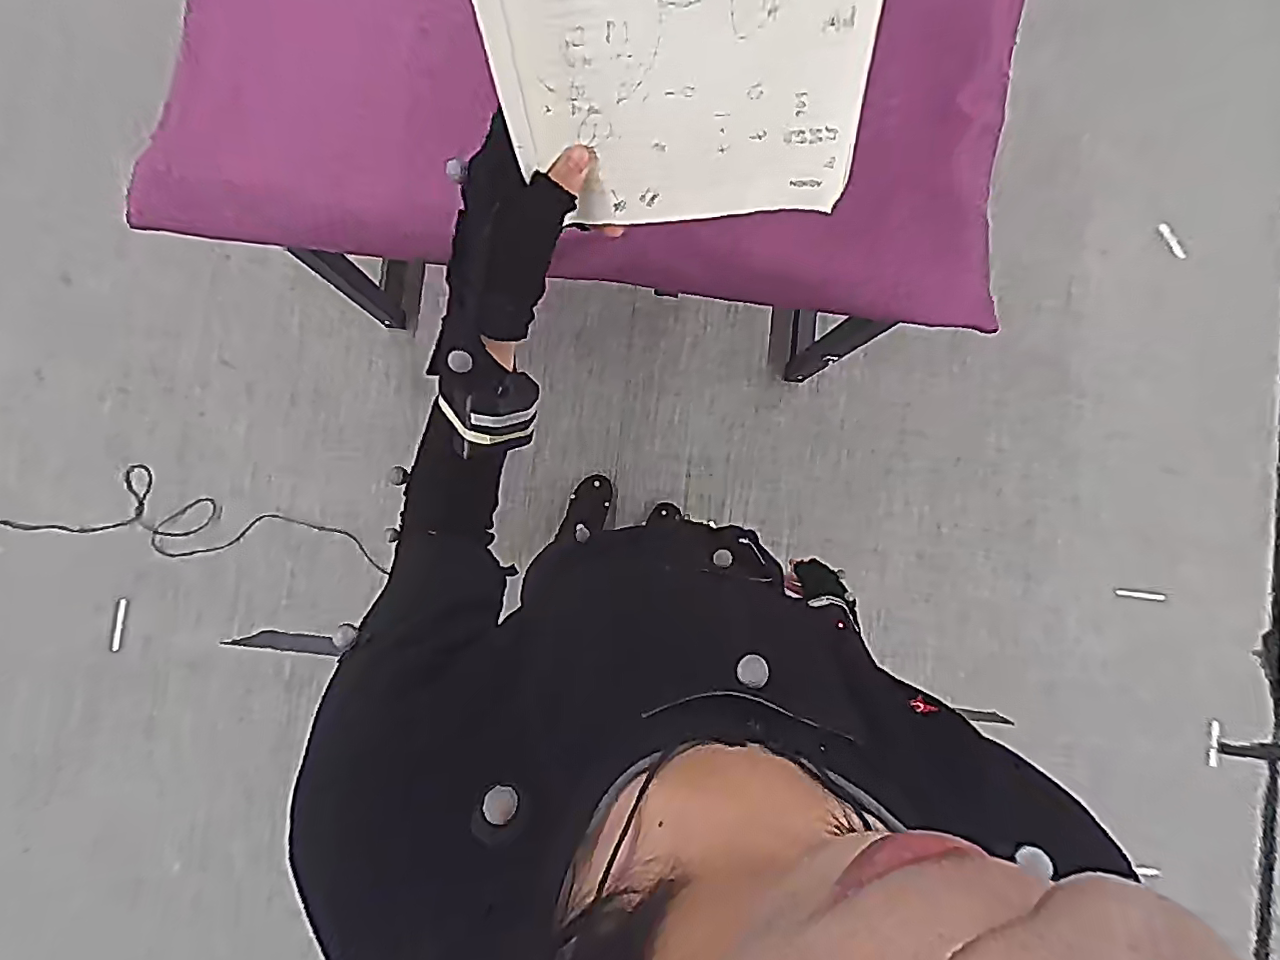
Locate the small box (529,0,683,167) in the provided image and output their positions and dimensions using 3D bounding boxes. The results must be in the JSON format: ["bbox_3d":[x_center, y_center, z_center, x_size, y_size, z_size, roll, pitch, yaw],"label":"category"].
[{"bbox_3d":[-0.044,-0.557,0.730,0.179,0.176,0.168,6,87,-4],"label":"small box"}]
